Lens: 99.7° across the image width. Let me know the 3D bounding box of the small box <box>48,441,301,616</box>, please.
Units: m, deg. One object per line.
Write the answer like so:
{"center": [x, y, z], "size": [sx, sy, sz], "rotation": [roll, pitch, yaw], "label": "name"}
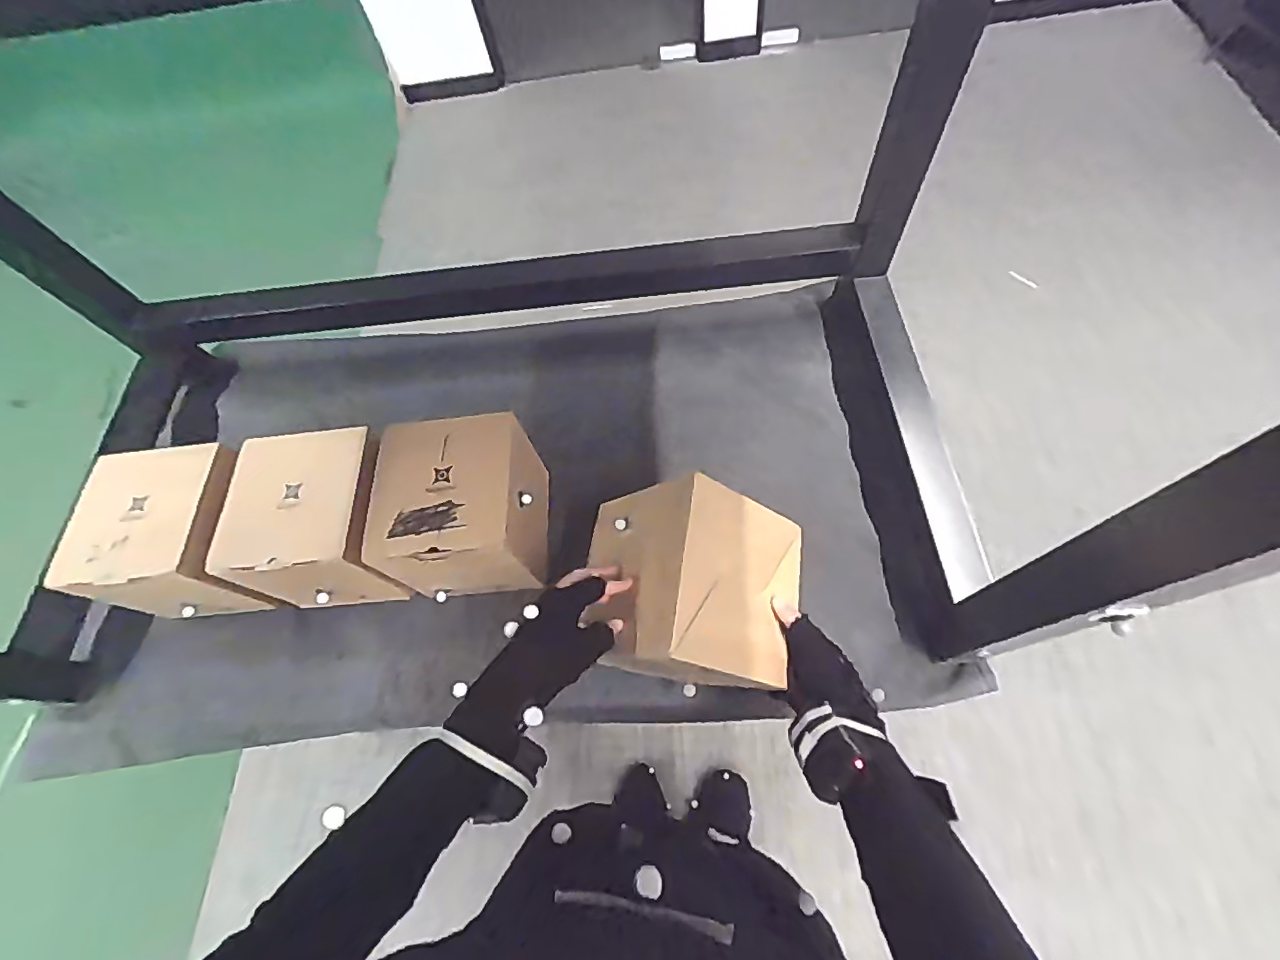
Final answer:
{"center": [-0.593, 0.071, 0.720], "size": [0.168, 0.176, 0.179], "rotation": [-6, 63, 4], "label": "small box"}
